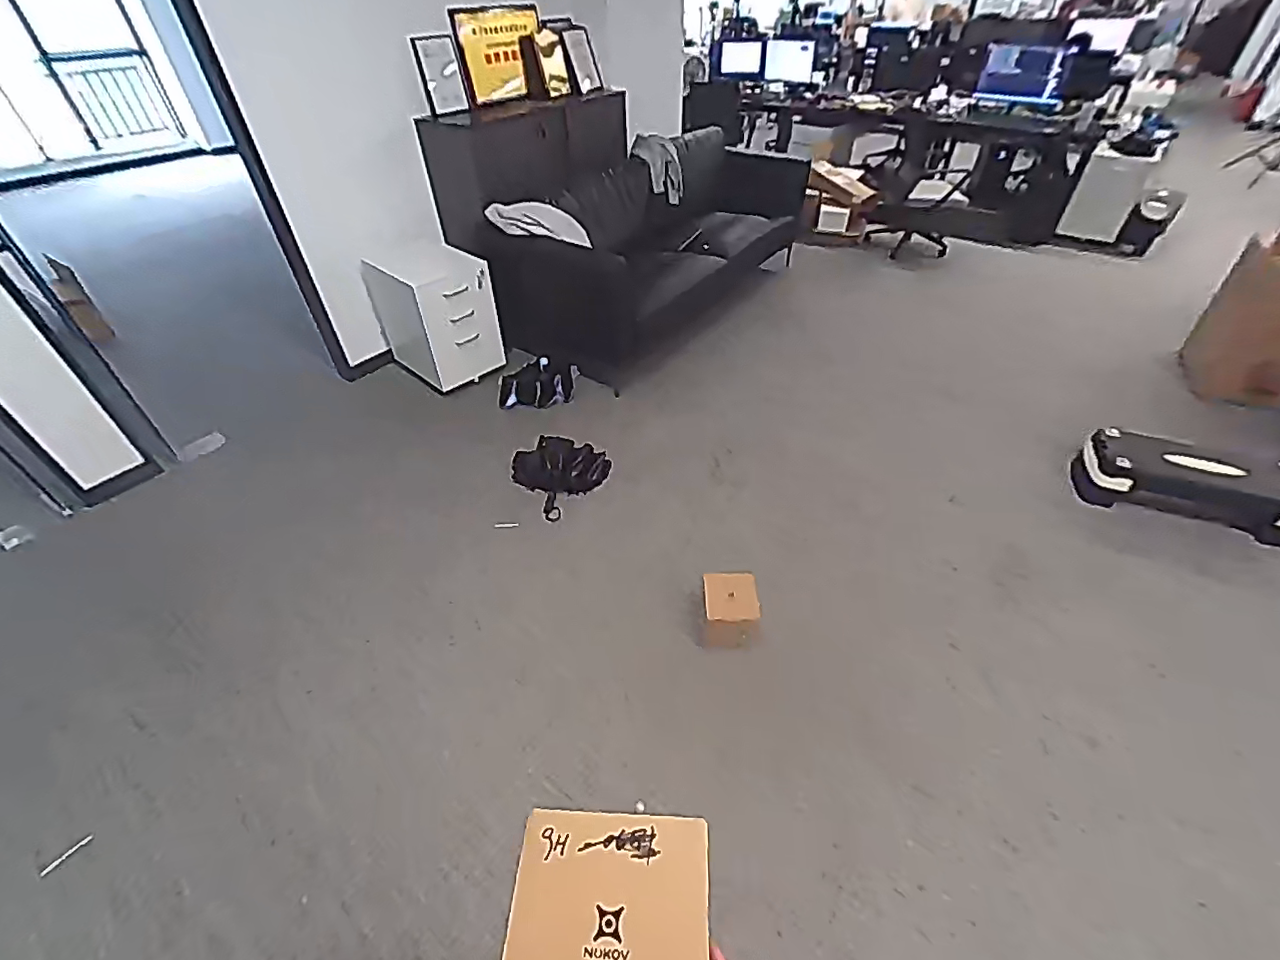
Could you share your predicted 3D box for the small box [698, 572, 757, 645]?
[{"bbox_3d":[0.279,0.421,1.755,0.168,0.176,0.179,0,41,0],"label":"small box"}]
